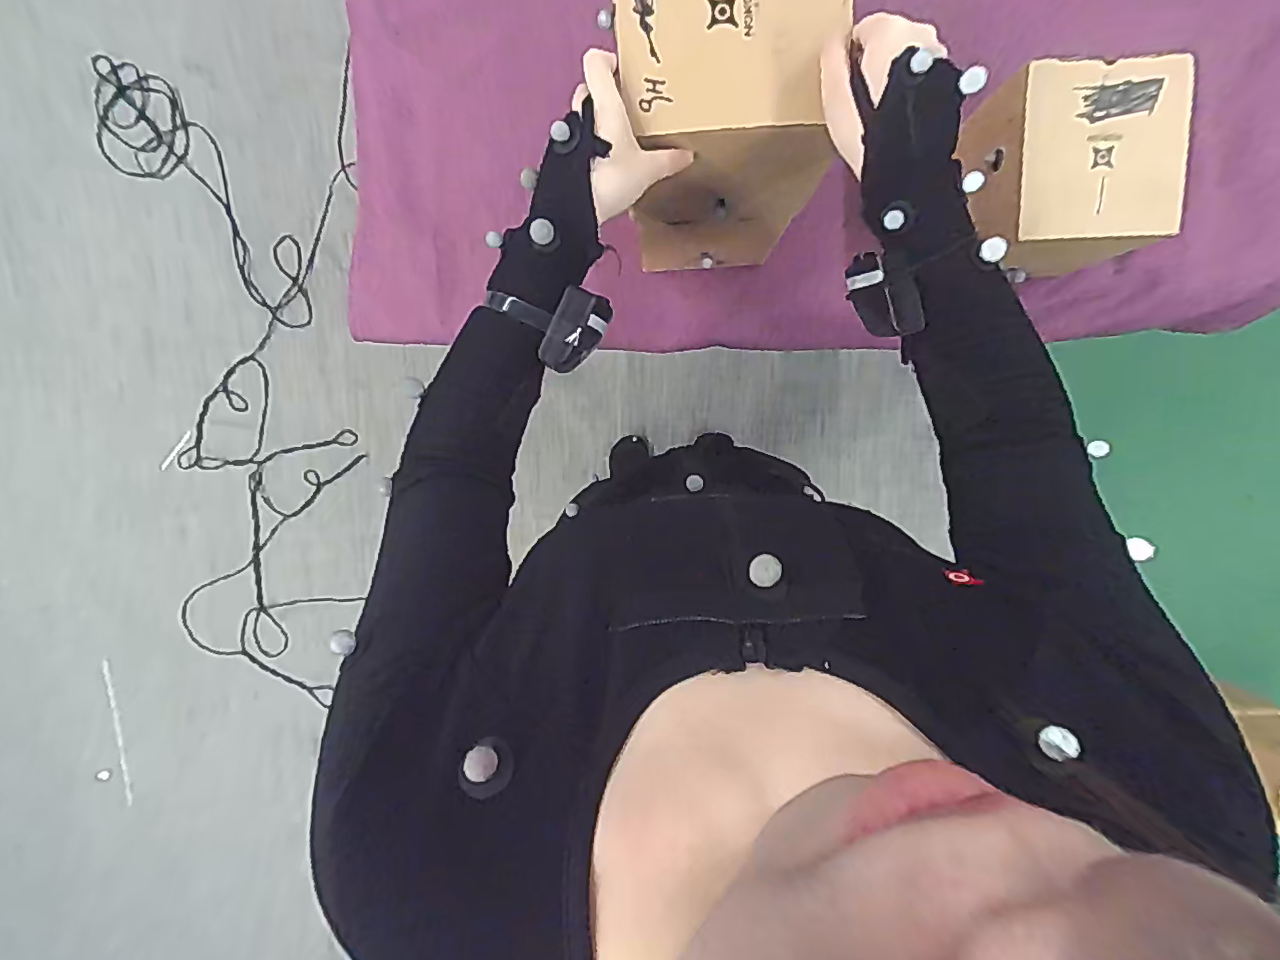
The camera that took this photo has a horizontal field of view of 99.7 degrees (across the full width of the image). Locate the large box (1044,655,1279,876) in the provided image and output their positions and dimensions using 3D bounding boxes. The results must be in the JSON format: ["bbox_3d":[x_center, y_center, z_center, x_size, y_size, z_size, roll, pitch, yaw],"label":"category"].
[{"bbox_3d":[1.304,0.701,1.381,0.320,0.320,0.408,0,97,2],"label":"large box"}]

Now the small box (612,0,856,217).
[{"bbox_3d":[0.067,-0.344,0.466,0.179,0.176,0.168,-2,94,1],"label":"small box"}]

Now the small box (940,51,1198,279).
[{"bbox_3d":[0.469,-0.344,0.620,0.168,0.176,0.179,-1,97,2],"label":"small box"}]

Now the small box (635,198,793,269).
[{"bbox_3d":[0.075,-0.364,0.629,0.168,0.176,0.179,-2,95,3],"label":"small box"}]

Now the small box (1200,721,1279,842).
[{"bbox_3d":[1.347,0.624,1.126,0.179,0.176,0.168,0,97,1],"label":"small box"}]
